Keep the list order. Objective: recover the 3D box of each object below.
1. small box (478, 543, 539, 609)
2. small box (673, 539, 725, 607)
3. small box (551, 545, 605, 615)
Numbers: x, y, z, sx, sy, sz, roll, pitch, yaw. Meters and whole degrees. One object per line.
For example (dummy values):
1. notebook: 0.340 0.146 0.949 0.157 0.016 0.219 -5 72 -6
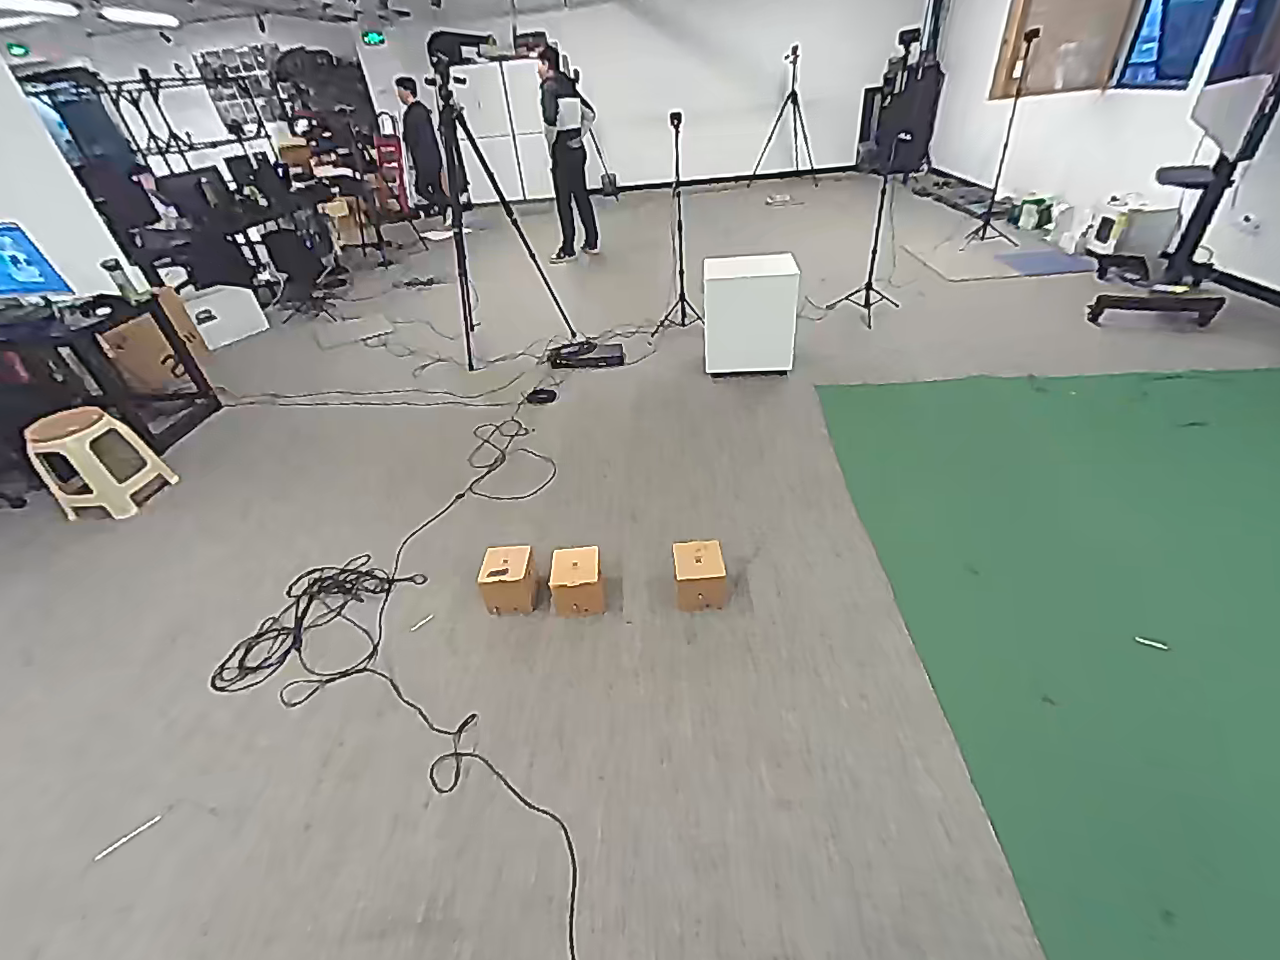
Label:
1. small box: -0.471 0.355 1.967 0.168 0.176 0.179 -4 36 3
2. small box: 0.207 0.333 1.904 0.168 0.176 0.179 -4 37 0
3. small box: -0.218 0.356 1.932 0.168 0.176 0.179 -6 38 1
